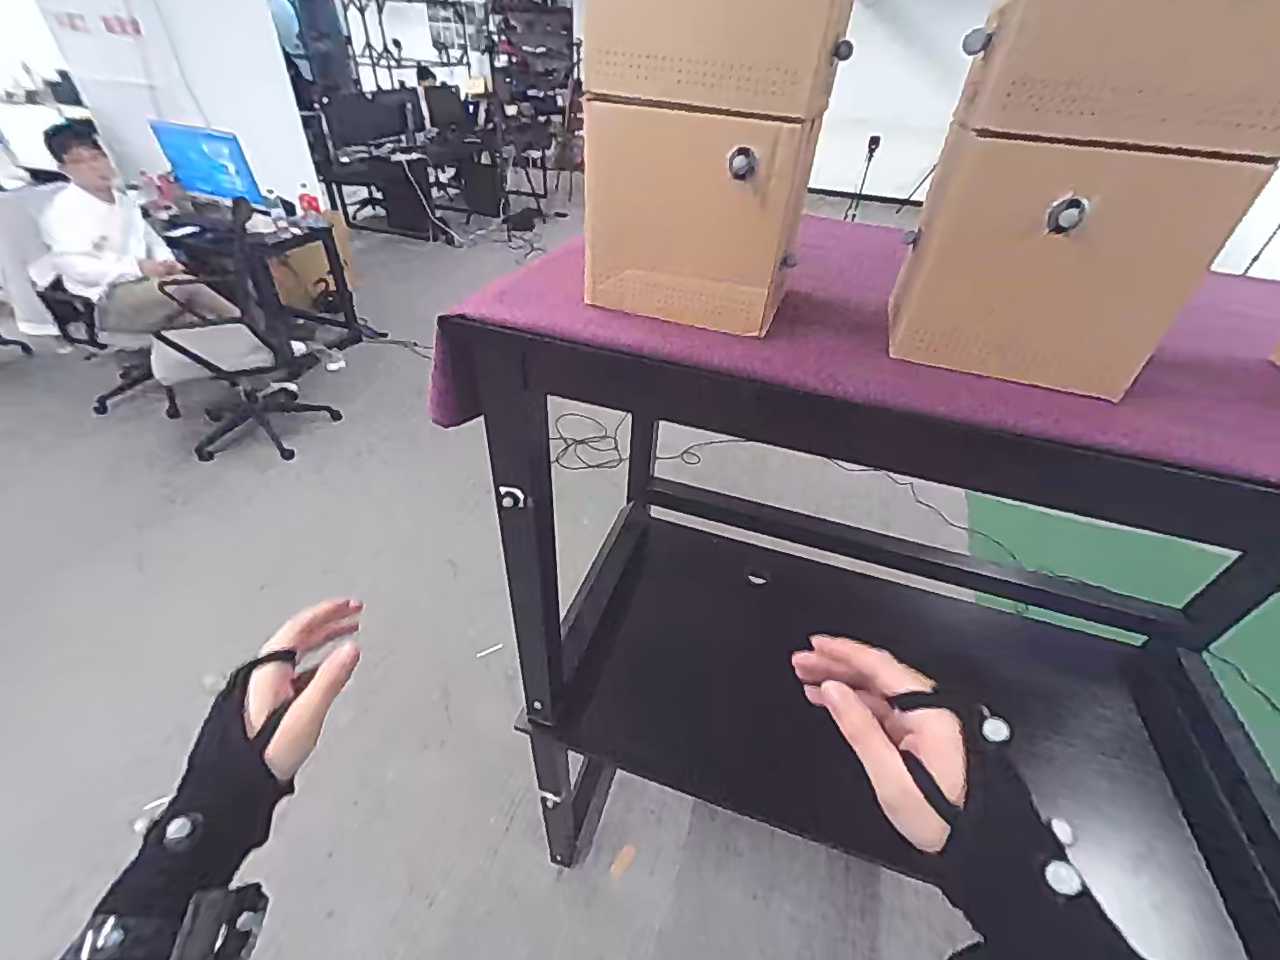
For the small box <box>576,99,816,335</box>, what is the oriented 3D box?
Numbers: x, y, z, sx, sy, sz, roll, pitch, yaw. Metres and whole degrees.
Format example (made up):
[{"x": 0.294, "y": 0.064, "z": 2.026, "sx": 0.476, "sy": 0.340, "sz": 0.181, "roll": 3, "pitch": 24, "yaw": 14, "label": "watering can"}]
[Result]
[{"x": 0.052, "y": -0.252, "z": 0.515, "sx": 0.179, "sy": 0.176, "sz": 0.168, "roll": 16, "pitch": 39, "yaw": 13, "label": "small box"}]

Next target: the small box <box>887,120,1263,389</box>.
[{"x": 0.321, "y": -0.193, "z": 0.454, "sx": 0.179, "sy": 0.176, "sz": 0.168, "roll": 15, "pitch": 40, "yaw": 15, "label": "small box"}]

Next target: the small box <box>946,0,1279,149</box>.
[{"x": 0.328, "y": -0.322, "z": 0.352, "sx": 0.179, "sy": 0.176, "sz": 0.168, "roll": 14, "pitch": 39, "yaw": 15, "label": "small box"}]
